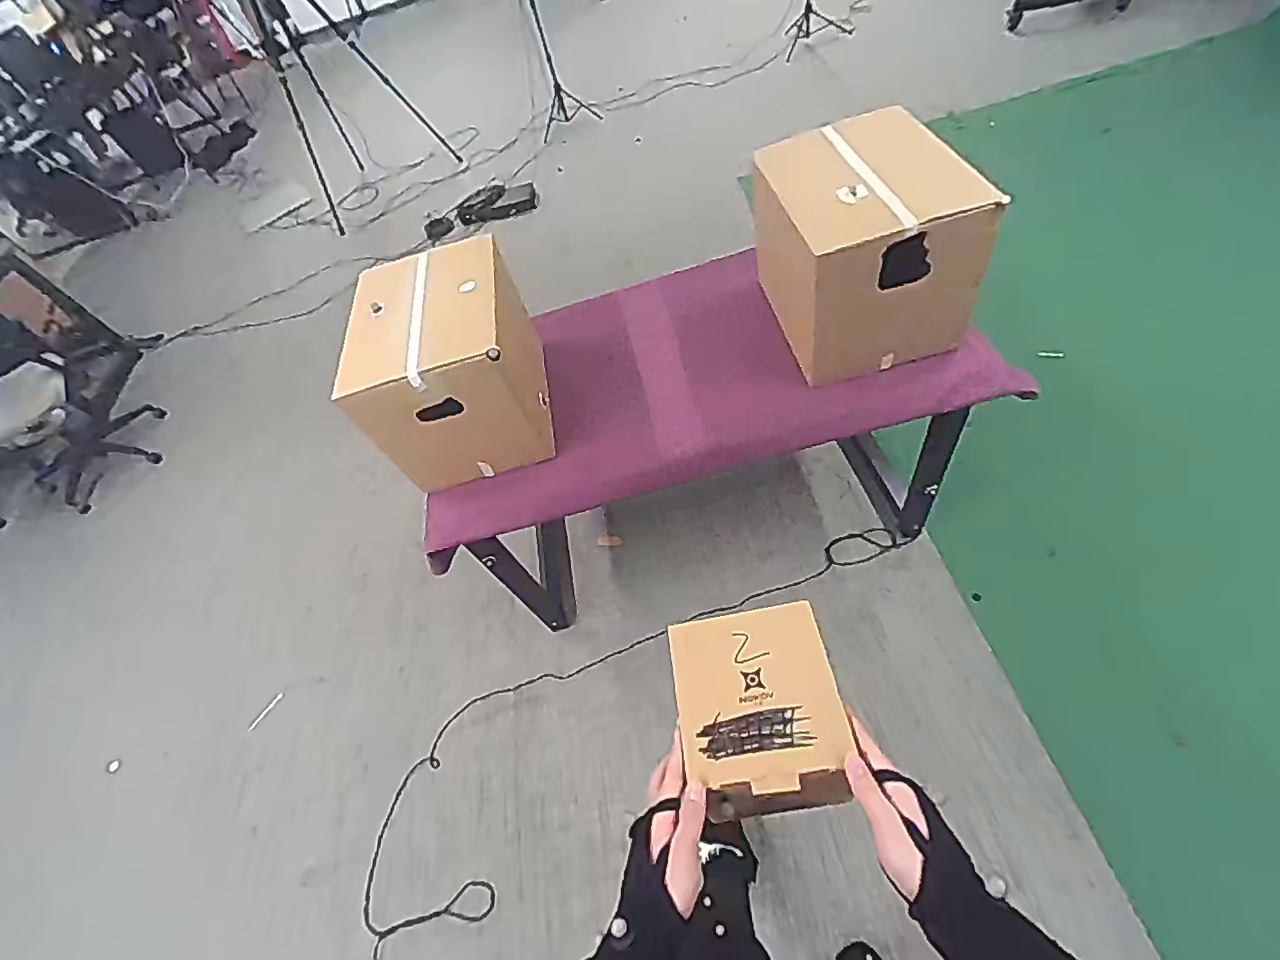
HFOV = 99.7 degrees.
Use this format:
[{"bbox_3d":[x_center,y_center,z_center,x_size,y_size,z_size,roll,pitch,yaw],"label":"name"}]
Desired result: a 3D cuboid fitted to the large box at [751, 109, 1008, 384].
[{"bbox_3d":[0.436,-0.471,1.104,0.320,0.320,0.408,-15,54,5],"label":"large box"}]
